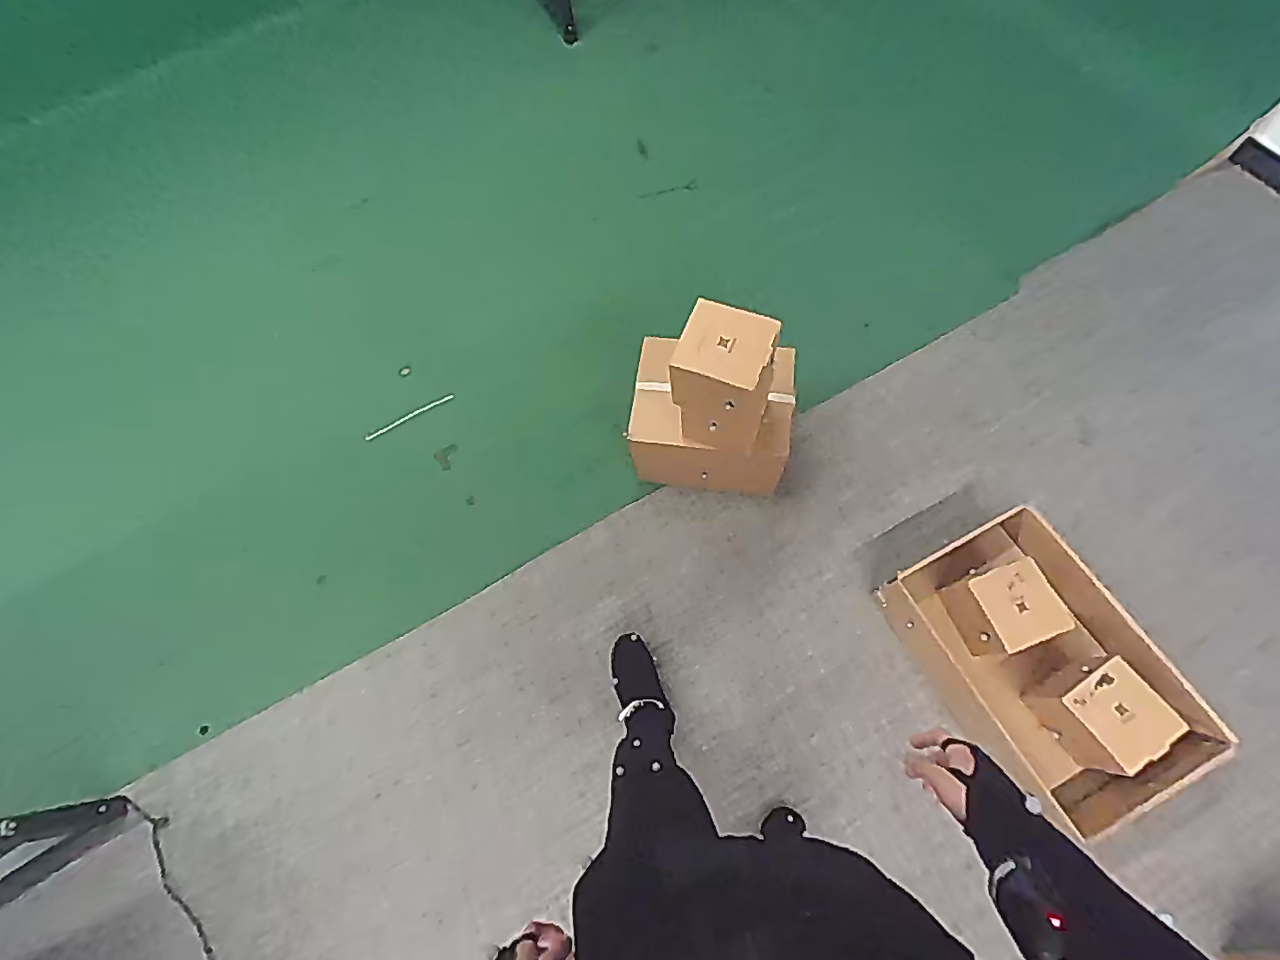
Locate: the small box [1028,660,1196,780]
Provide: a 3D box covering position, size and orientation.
[{"bbox_3d":[1.011,0.512,1.177,0.168,0.176,0.179,-33,69,-6],"label":"small box"}]

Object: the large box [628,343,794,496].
[{"bbox_3d":[0.203,-0.158,1.510,0.408,0.320,0.320,6,69,9],"label":"large box"}]

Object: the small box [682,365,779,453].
[{"bbox_3d":[0.207,-0.177,1.255,0.179,0.176,0.168,17,74,12],"label":"small box"}]

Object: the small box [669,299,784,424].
[{"bbox_3d":[0.174,-0.233,1.104,0.179,0.176,0.168,21,74,14],"label":"small box"}]
